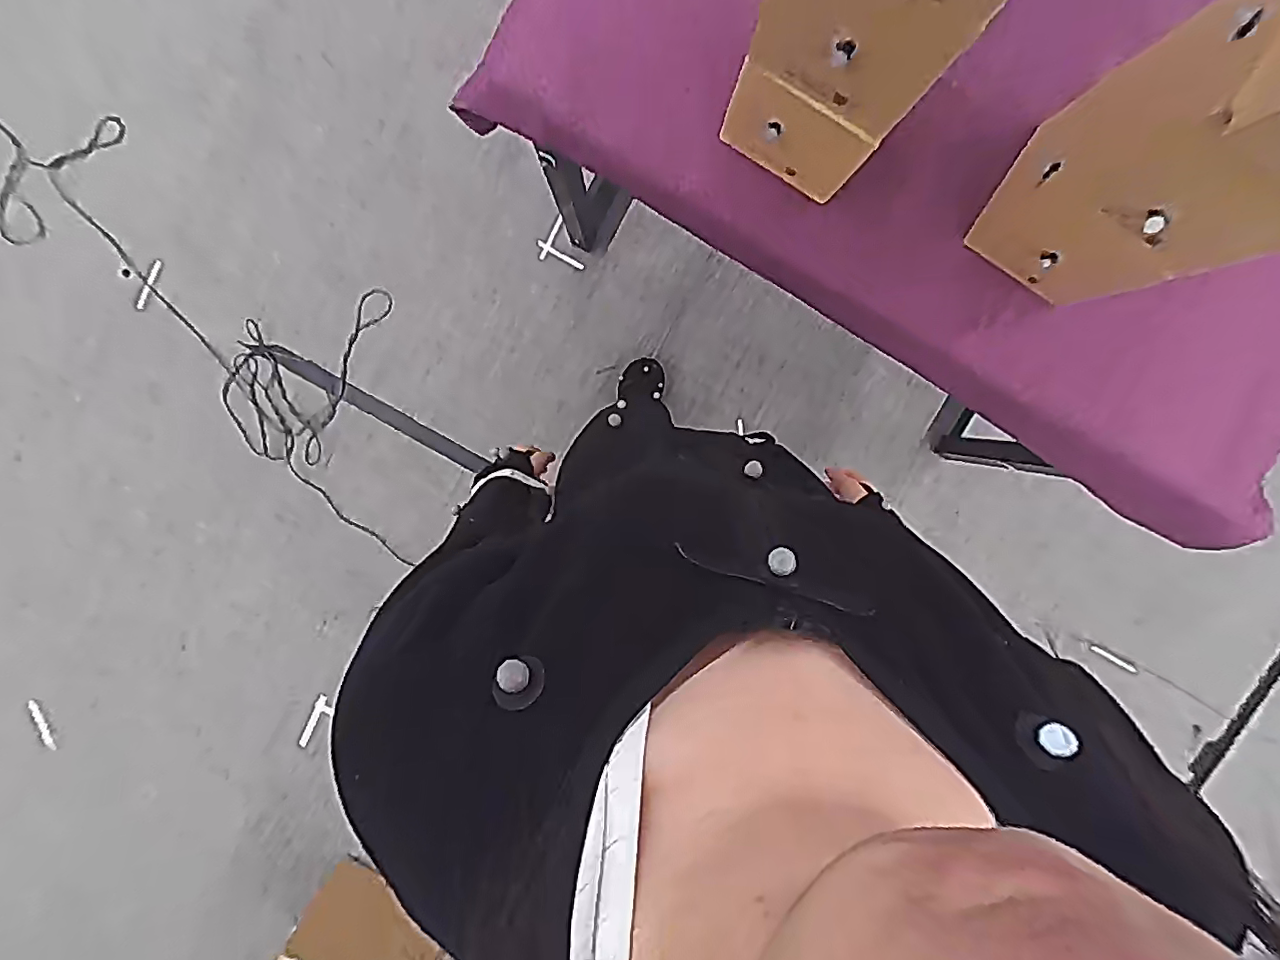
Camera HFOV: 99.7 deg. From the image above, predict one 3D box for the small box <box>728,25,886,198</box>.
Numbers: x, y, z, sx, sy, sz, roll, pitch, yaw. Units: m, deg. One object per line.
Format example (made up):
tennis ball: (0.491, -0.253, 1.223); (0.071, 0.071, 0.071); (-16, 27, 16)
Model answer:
small box: (0.218, -0.470, 0.628); (0.168, 0.176, 0.179); (30, 95, -5)

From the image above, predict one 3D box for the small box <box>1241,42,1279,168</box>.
small box: (0.549, -0.282, 0.327); (0.168, 0.176, 0.179); (28, 96, -5)

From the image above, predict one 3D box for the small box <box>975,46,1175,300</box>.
small box: (0.549, -0.342, 0.649); (0.168, 0.176, 0.179); (32, 95, -5)

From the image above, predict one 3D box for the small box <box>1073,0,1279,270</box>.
small box: (0.556, -0.323, 0.486); (0.168, 0.176, 0.179); (32, 96, -4)

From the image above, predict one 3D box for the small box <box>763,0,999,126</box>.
small box: (0.223, -0.457, 0.465); (0.168, 0.176, 0.179); (28, 96, -5)
